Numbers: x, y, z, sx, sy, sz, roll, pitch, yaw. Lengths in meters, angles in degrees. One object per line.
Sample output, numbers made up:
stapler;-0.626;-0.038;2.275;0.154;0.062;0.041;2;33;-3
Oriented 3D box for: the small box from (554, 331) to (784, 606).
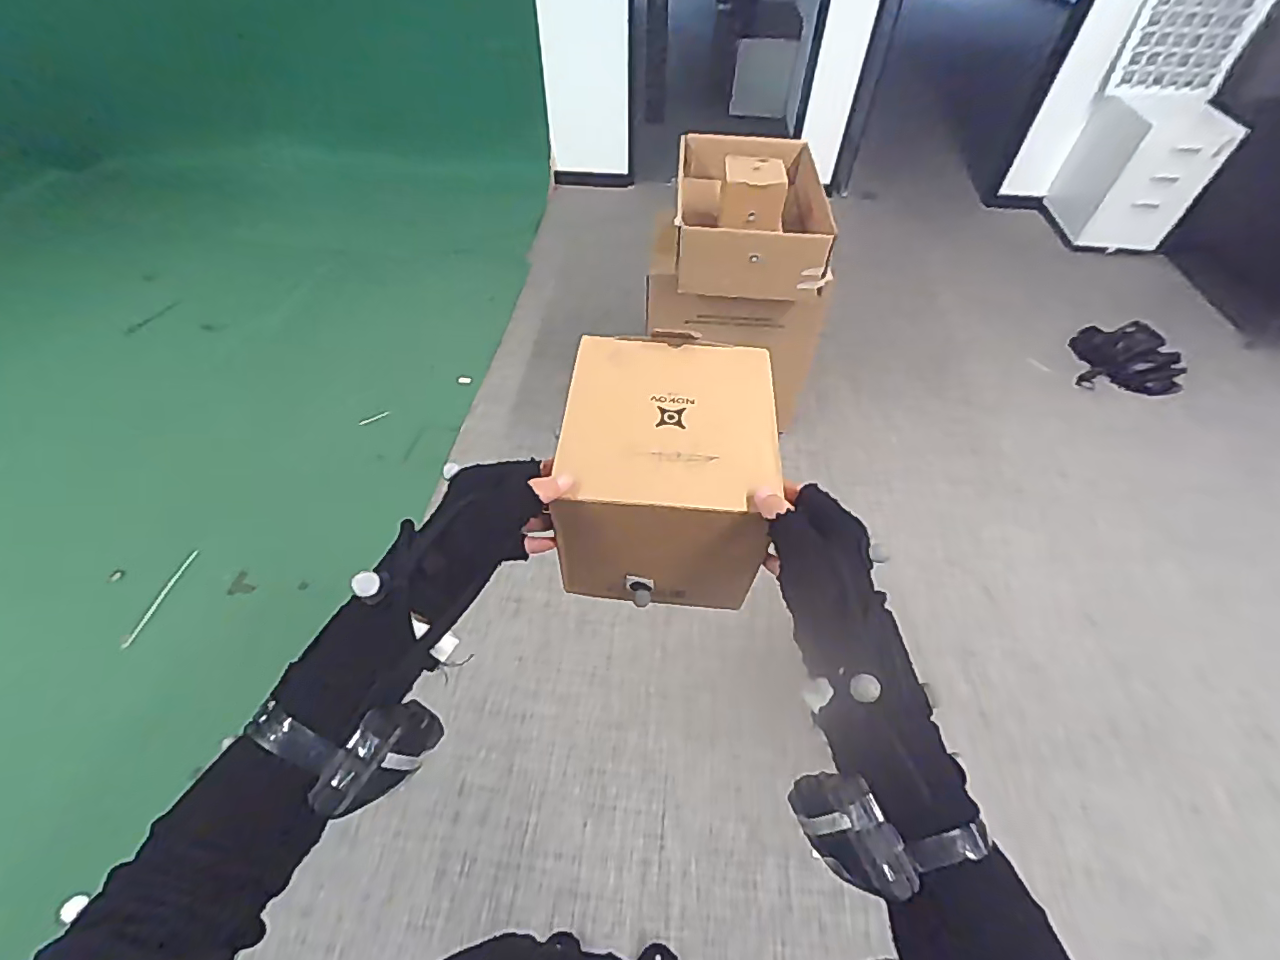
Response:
small box;0.022;-0.006;0.489;0.168;0.176;0.179;5;55;1
